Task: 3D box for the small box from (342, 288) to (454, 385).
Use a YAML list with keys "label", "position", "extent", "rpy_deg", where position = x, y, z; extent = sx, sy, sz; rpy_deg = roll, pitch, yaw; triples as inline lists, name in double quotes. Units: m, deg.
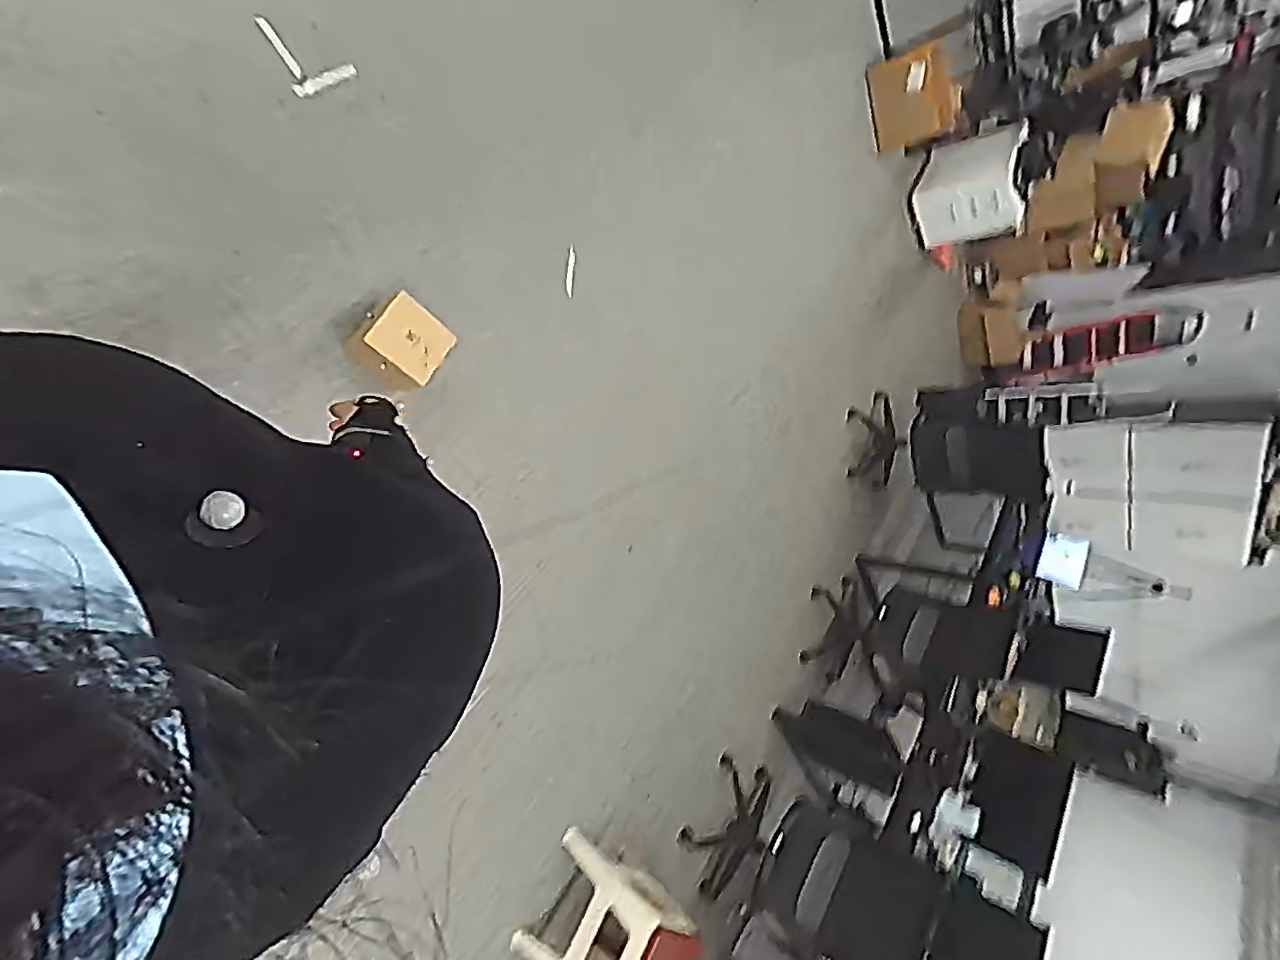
- label: "small box"
  position: [-0.625, -0.357, 1.389]
  extent: [0.179, 0.176, 0.168]
  rpy_deg: [43, 64, -38]
